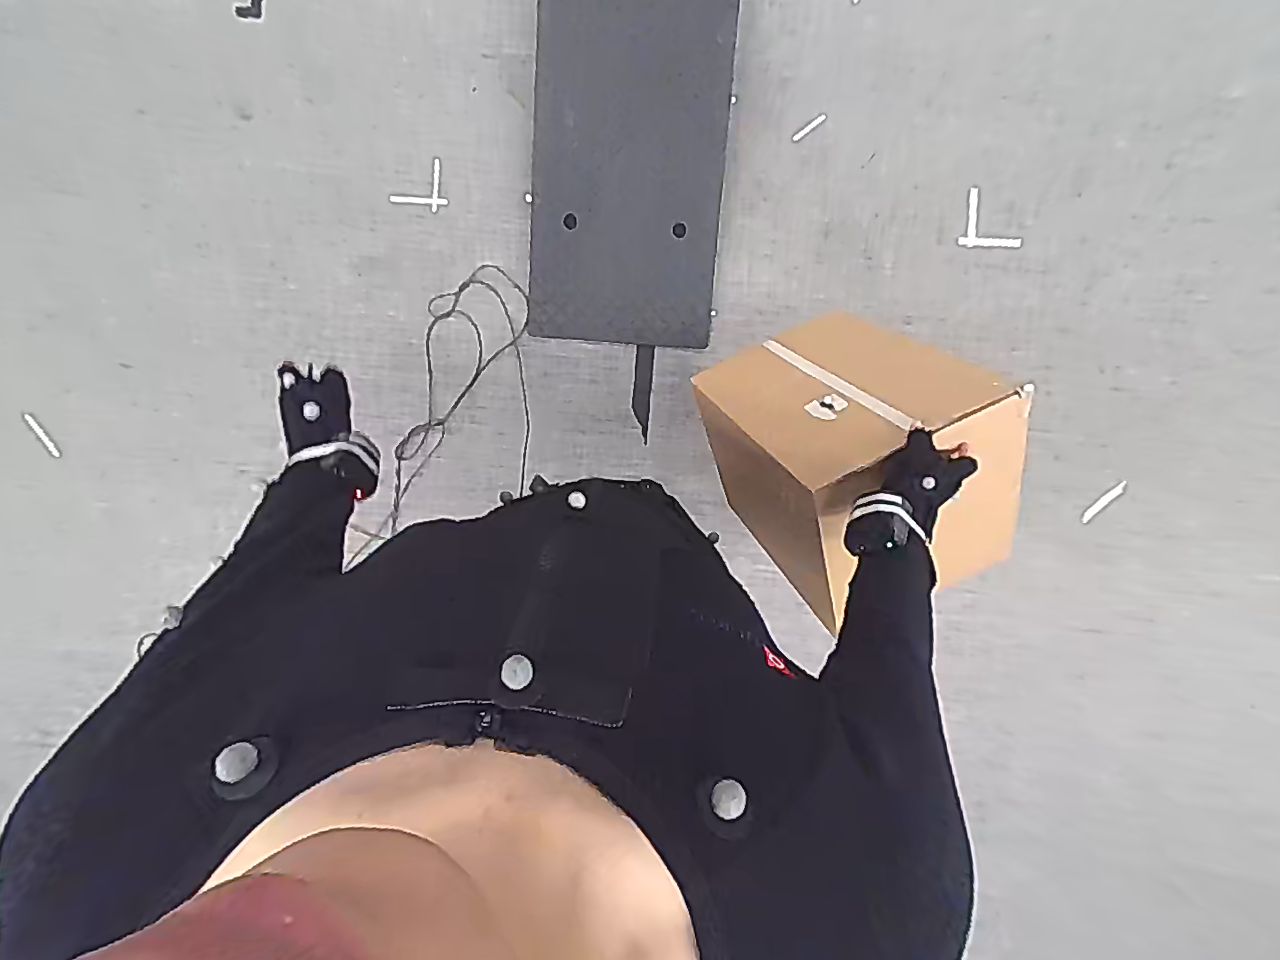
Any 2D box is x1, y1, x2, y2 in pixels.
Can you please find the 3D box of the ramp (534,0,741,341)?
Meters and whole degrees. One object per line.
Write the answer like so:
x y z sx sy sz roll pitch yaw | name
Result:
-0.015 -0.879 1.375 0.509 0.206 0.991 2 92 -2 | ramp

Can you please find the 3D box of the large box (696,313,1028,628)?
0.340 -0.038 0.920 0.320 0.408 0.320 -25 126 -4 | large box
